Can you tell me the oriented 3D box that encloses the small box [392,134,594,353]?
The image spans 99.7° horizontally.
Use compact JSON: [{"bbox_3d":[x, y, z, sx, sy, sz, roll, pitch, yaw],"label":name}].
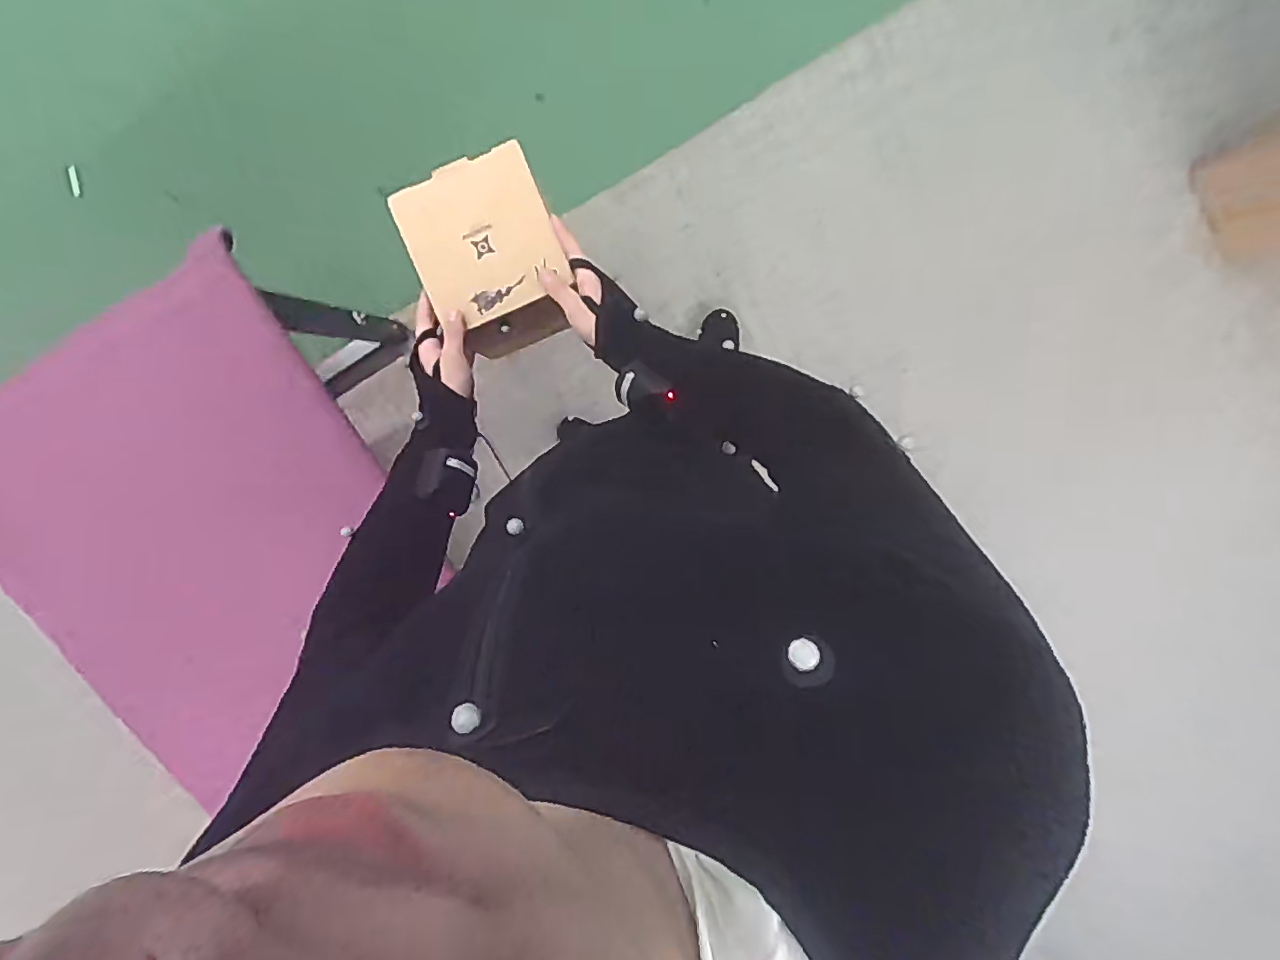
[{"bbox_3d":[-0.169,-0.278,0.679,0.168,0.176,0.179,-22,94,3],"label":"small box"}]
